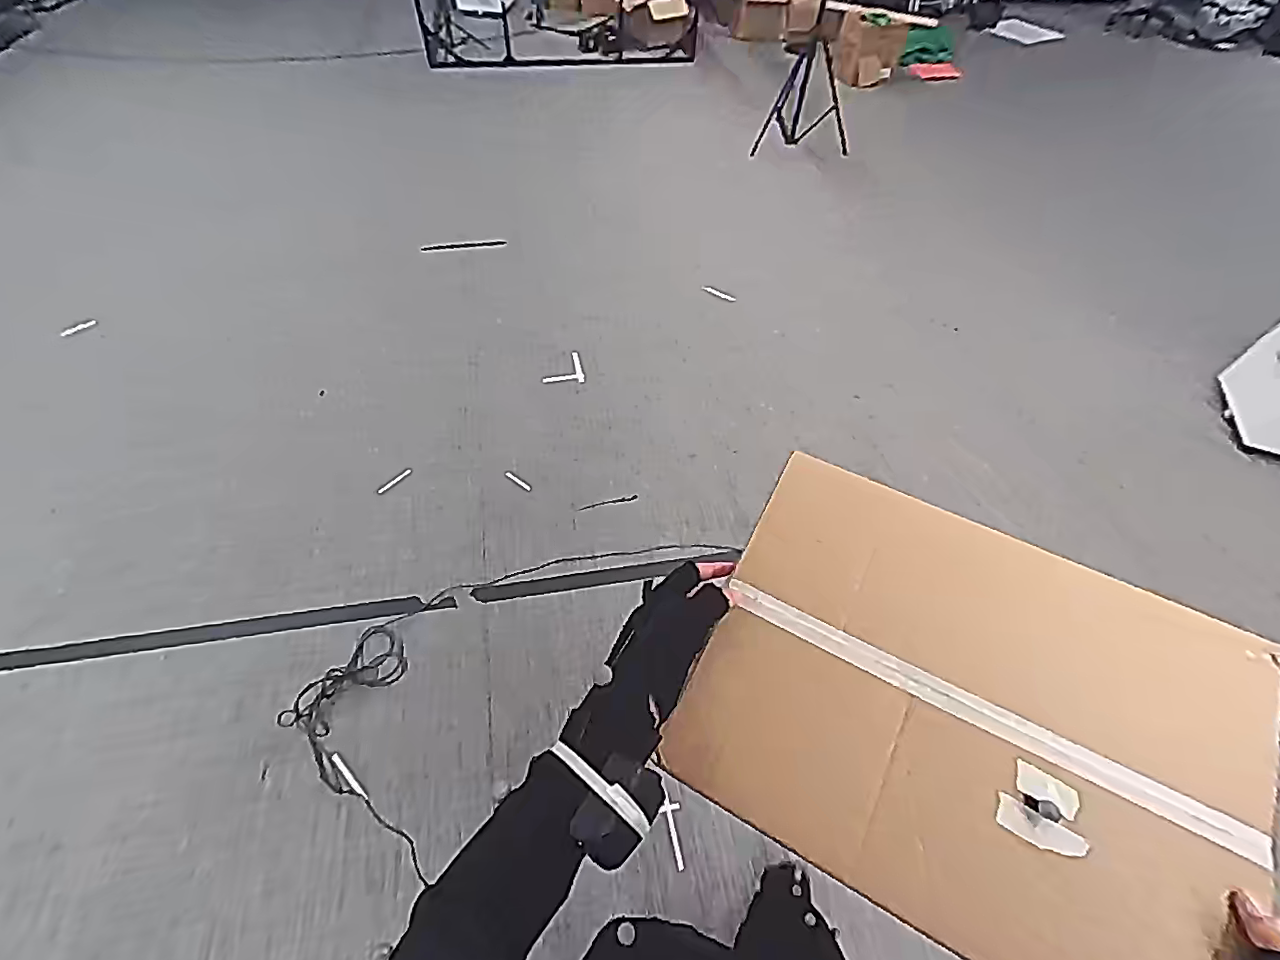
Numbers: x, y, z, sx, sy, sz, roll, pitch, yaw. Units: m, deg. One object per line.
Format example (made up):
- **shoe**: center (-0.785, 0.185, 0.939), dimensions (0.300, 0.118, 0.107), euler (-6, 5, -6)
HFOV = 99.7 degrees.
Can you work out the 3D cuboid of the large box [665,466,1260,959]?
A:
- **large box**: center (0.274, 0.246, 0.578), dimensions (0.408, 0.320, 0.320), euler (25, 70, 16)
